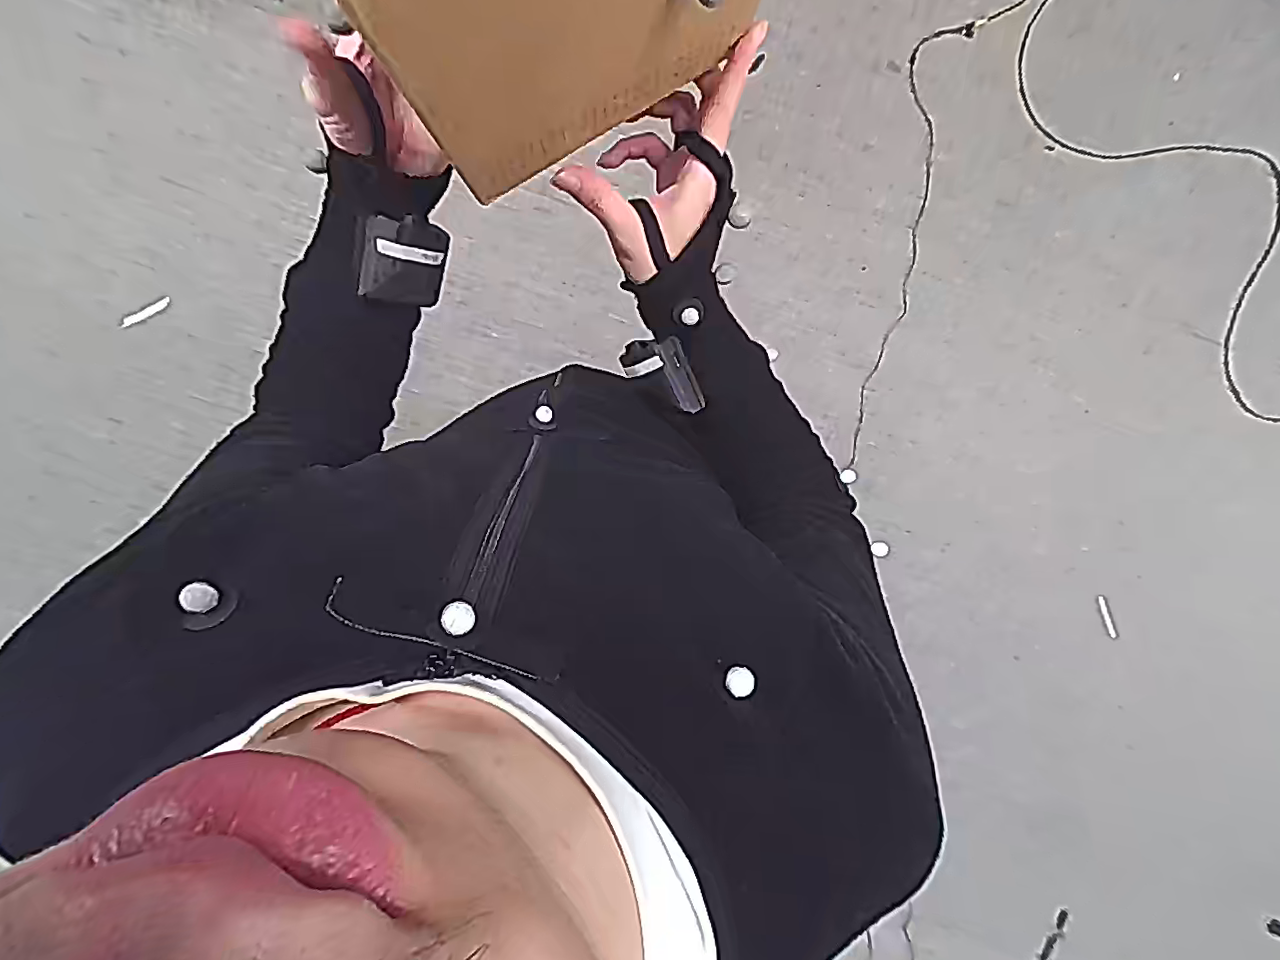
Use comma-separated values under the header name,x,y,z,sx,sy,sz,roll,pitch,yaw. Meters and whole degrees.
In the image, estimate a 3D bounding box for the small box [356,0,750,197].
name,x,y,z,sx,sy,sz,roll,pitch,yaw
small box,-0.050,-0.262,0.228,0.179,0.176,0.168,-30,97,3
